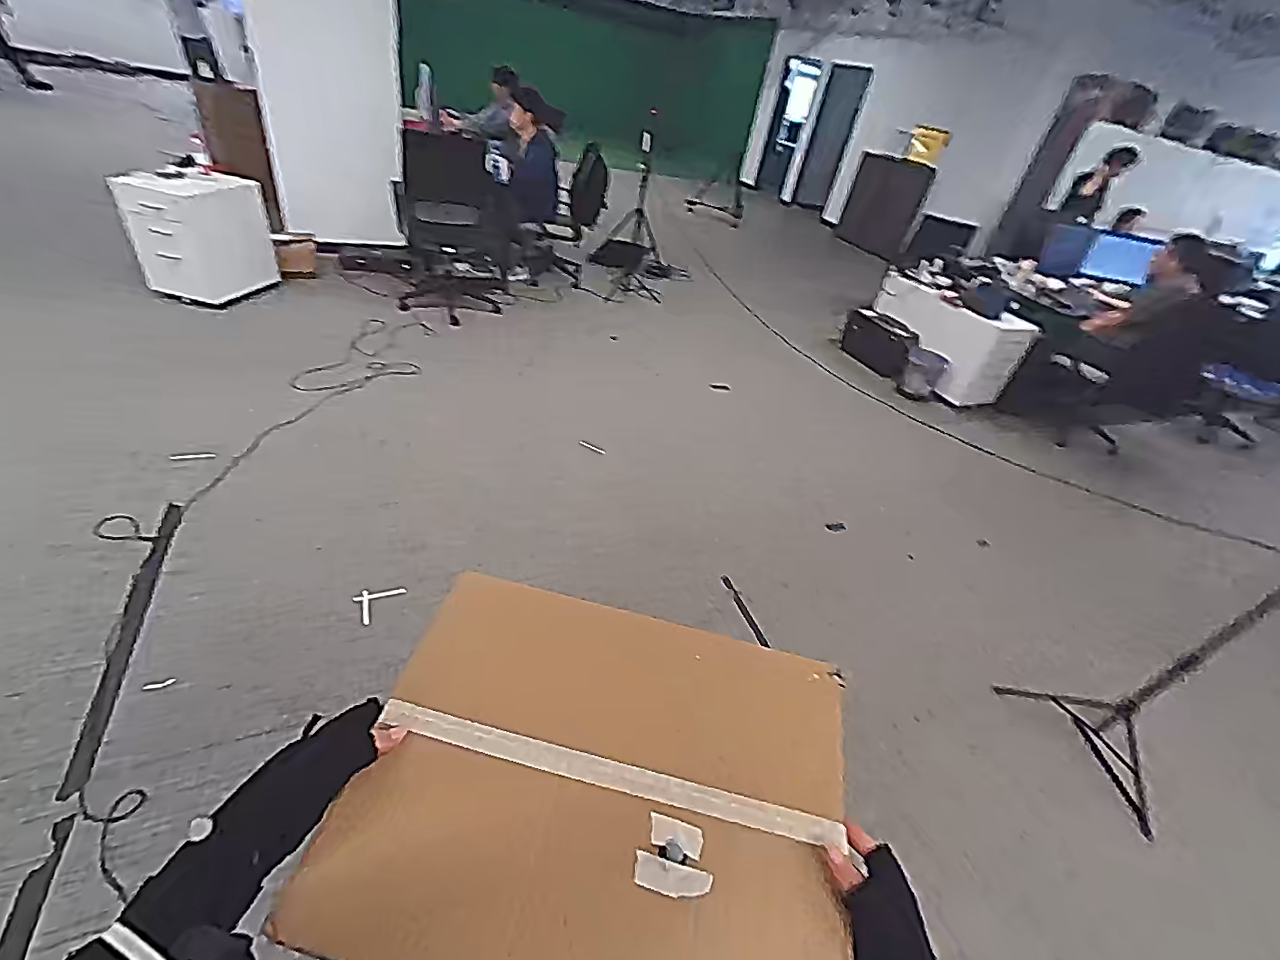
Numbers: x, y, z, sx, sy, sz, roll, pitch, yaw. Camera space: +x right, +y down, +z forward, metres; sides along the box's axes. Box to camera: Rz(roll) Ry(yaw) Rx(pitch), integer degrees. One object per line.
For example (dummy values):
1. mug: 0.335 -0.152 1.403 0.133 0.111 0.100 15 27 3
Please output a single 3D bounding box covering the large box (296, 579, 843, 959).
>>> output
1. large box: -0.040 0.358 0.577 0.408 0.320 0.320 14 46 5
